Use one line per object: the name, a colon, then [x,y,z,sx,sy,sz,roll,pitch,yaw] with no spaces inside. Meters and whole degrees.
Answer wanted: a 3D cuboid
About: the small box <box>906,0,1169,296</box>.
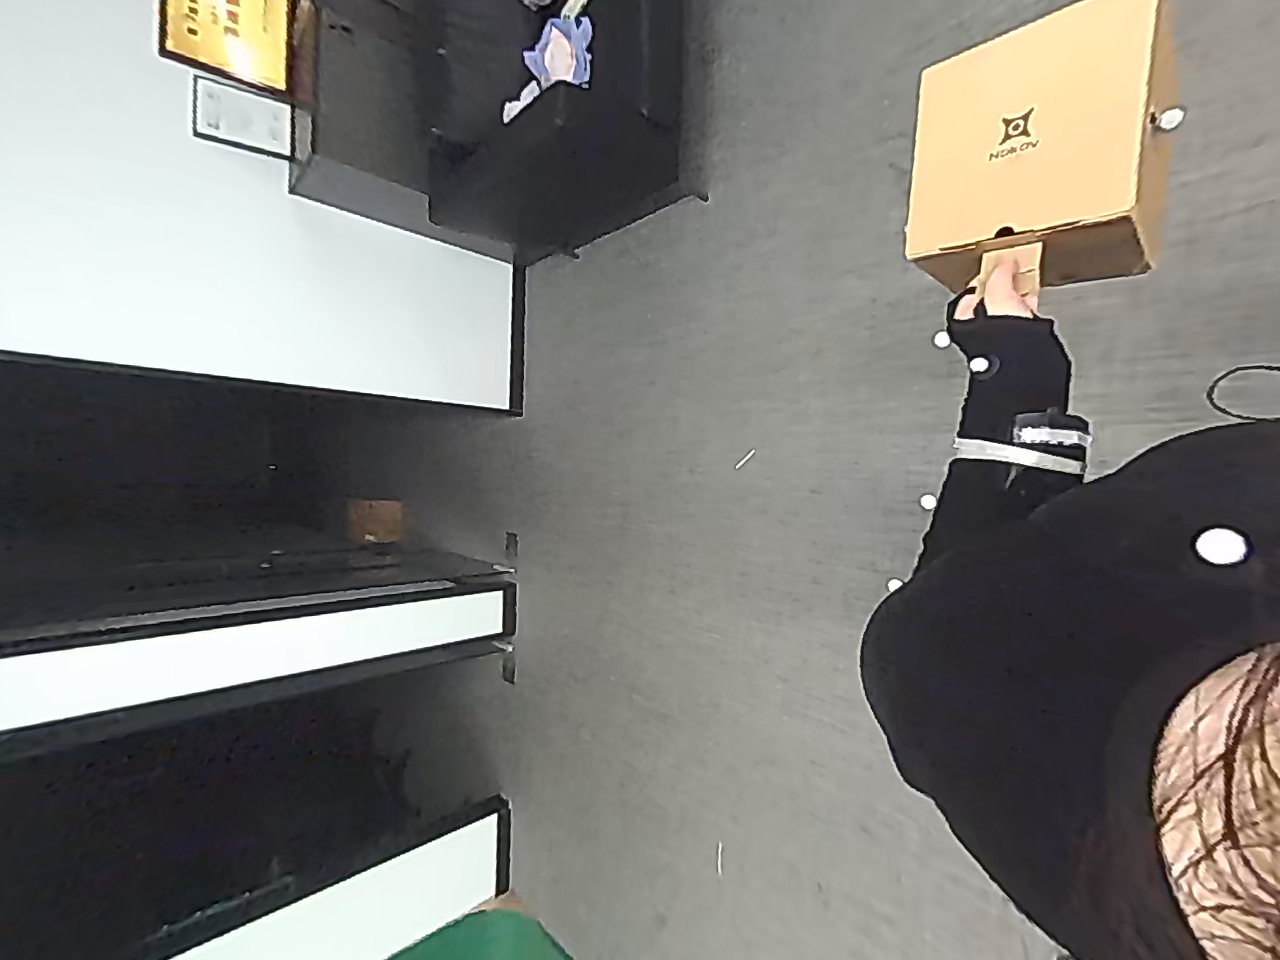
small box: [0.377,-0.291,0.513,0.168,0.176,0.179,9,97,46]
